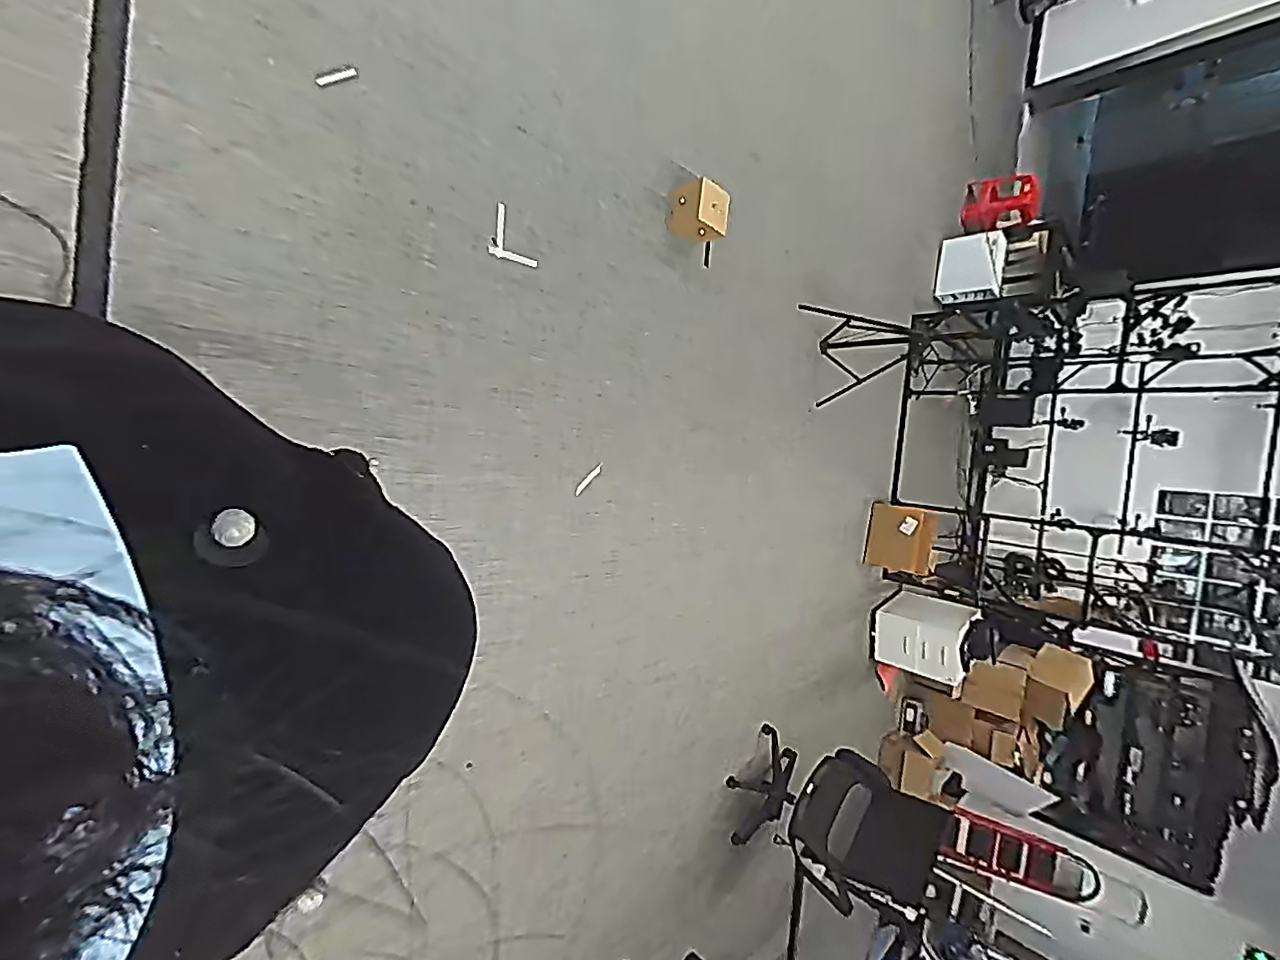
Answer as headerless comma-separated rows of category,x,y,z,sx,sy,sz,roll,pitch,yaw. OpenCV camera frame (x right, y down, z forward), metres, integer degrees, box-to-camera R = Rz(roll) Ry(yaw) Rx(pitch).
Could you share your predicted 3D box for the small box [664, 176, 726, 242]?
small box,0.218,-1.068,2.151,0.179,0.176,0.168,6,92,-46
